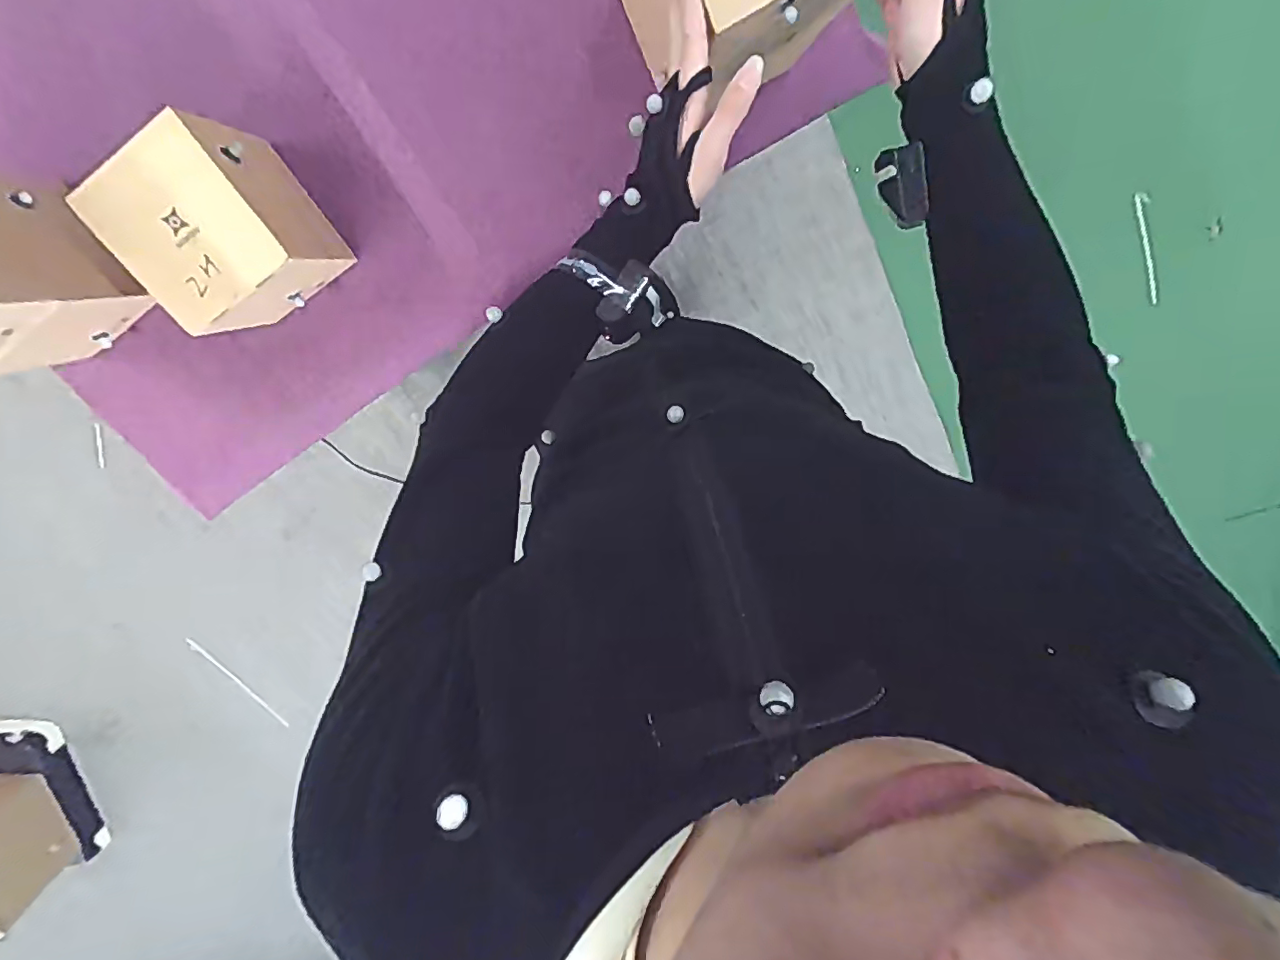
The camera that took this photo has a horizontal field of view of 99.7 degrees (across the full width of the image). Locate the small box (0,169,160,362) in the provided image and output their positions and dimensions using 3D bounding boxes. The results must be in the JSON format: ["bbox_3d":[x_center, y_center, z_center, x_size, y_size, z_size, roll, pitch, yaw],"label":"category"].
[{"bbox_3d":[-0.785,-0.267,0.683,0.168,0.176,0.179,-31,111,11],"label":"small box"}]

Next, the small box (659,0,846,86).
[{"bbox_3d":[0.091,-0.475,0.443,0.168,0.176,0.179,-25,110,9],"label":"small box"}]

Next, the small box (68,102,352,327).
[{"bbox_3d":[-0.509,-0.314,0.672,0.168,0.176,0.179,-30,110,11],"label":"small box"}]
